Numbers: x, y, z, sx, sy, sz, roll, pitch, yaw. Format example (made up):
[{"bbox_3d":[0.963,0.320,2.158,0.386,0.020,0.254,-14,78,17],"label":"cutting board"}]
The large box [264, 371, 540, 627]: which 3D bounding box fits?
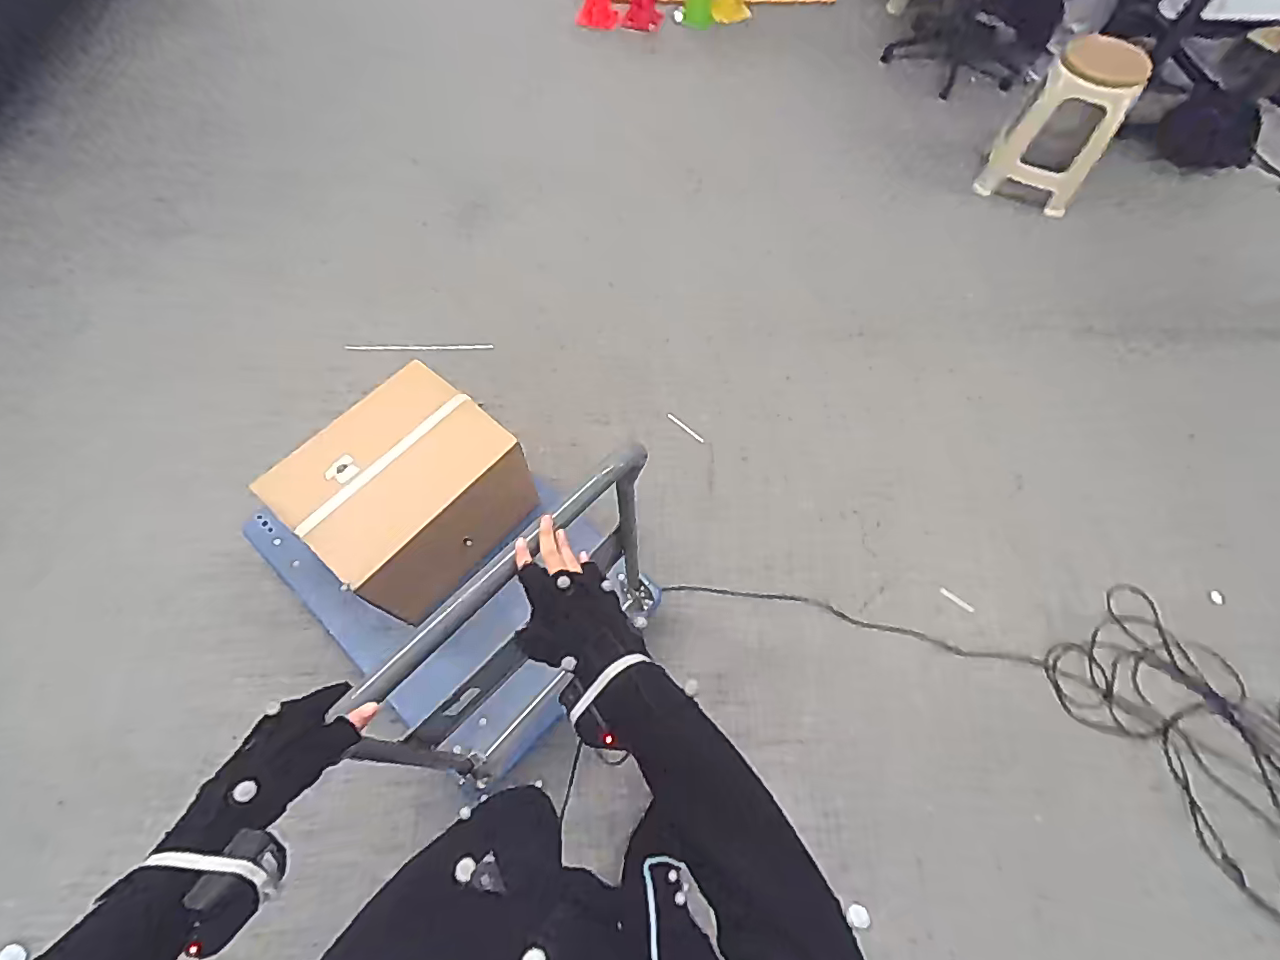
[{"bbox_3d":[-0.481,0.049,1.192,0.320,0.320,0.408,37,69,16],"label":"large box"}]
